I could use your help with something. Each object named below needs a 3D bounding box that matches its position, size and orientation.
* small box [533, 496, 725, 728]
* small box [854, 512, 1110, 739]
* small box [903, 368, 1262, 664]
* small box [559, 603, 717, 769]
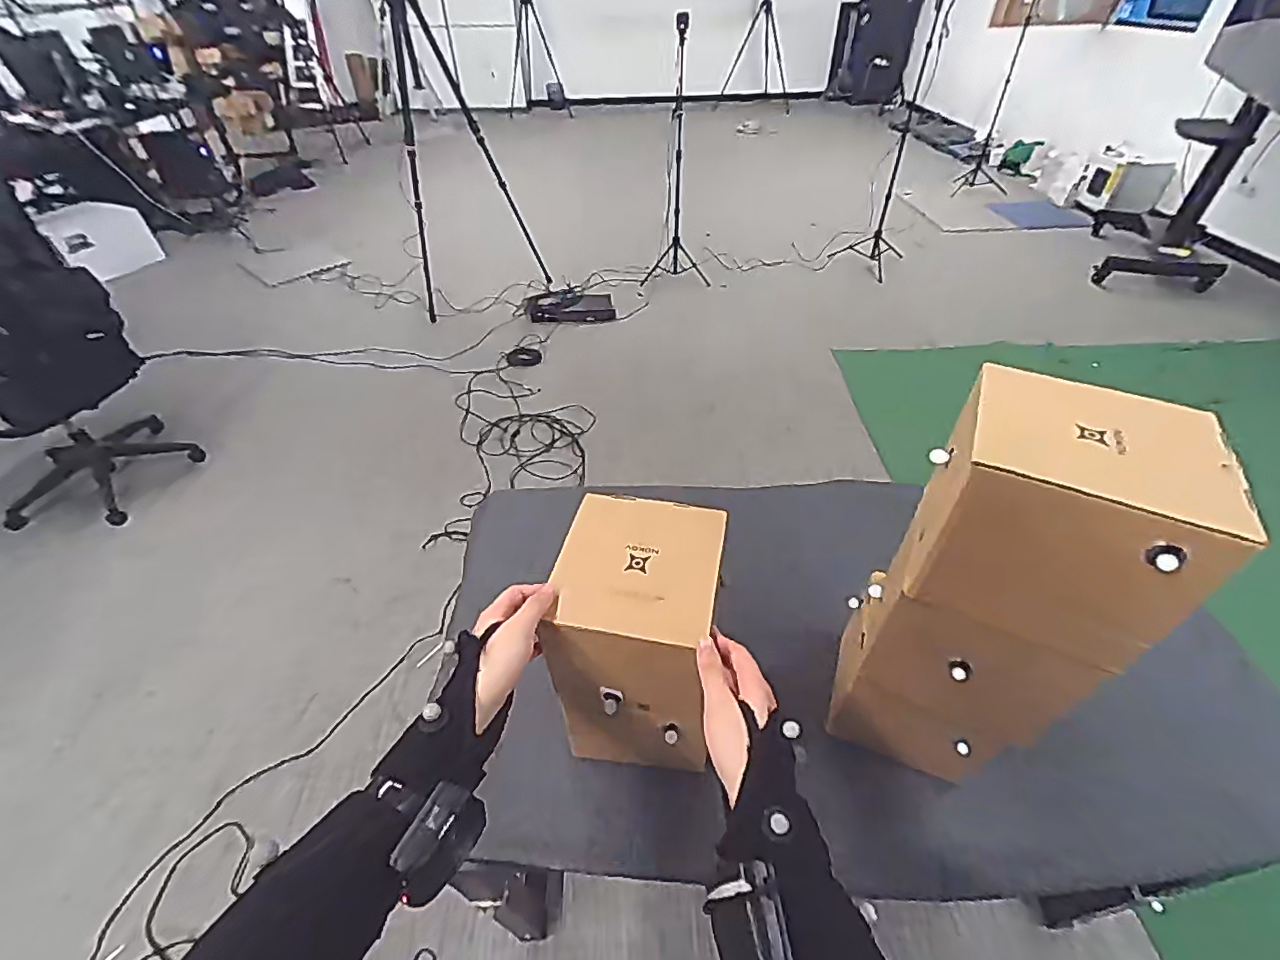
[{"bbox_3d":[-0.002,0.144,0.601,0.168,0.176,0.179,6,45,11],"label":"small box"},{"bbox_3d":[0.358,0.148,0.585,0.179,0.176,0.168,21,47,22],"label":"small box"},{"bbox_3d":[0.353,0.029,0.475,0.179,0.176,0.168,20,46,20],"label":"small box"},{"bbox_3d":[0.005,0.261,0.714,0.179,0.176,0.168,4,43,6],"label":"small box"}]
